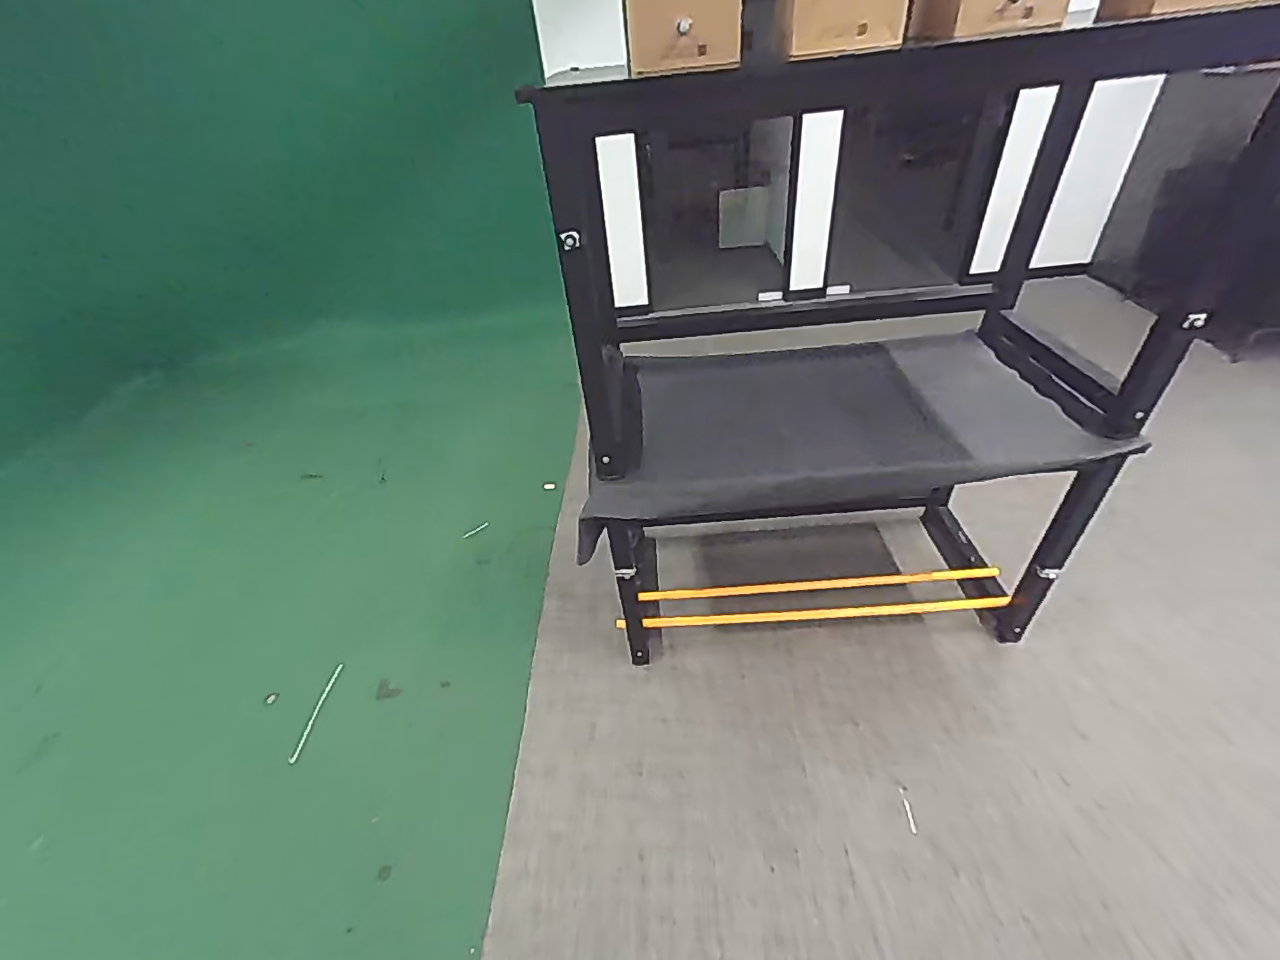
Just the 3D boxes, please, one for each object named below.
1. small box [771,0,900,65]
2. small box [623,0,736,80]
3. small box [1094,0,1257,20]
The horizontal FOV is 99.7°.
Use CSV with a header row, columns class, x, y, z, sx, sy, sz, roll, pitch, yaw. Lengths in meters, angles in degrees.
class,x,y,z,sx,sy,sz,roll,pitch,yaw
small box,0.301,-0.762,0.840,0.168,0.176,0.179,-3,38,5
small box,0.057,-0.757,0.871,0.168,0.176,0.179,-7,39,1
small box,0.813,-0.786,0.778,0.168,0.176,0.179,2,39,11
